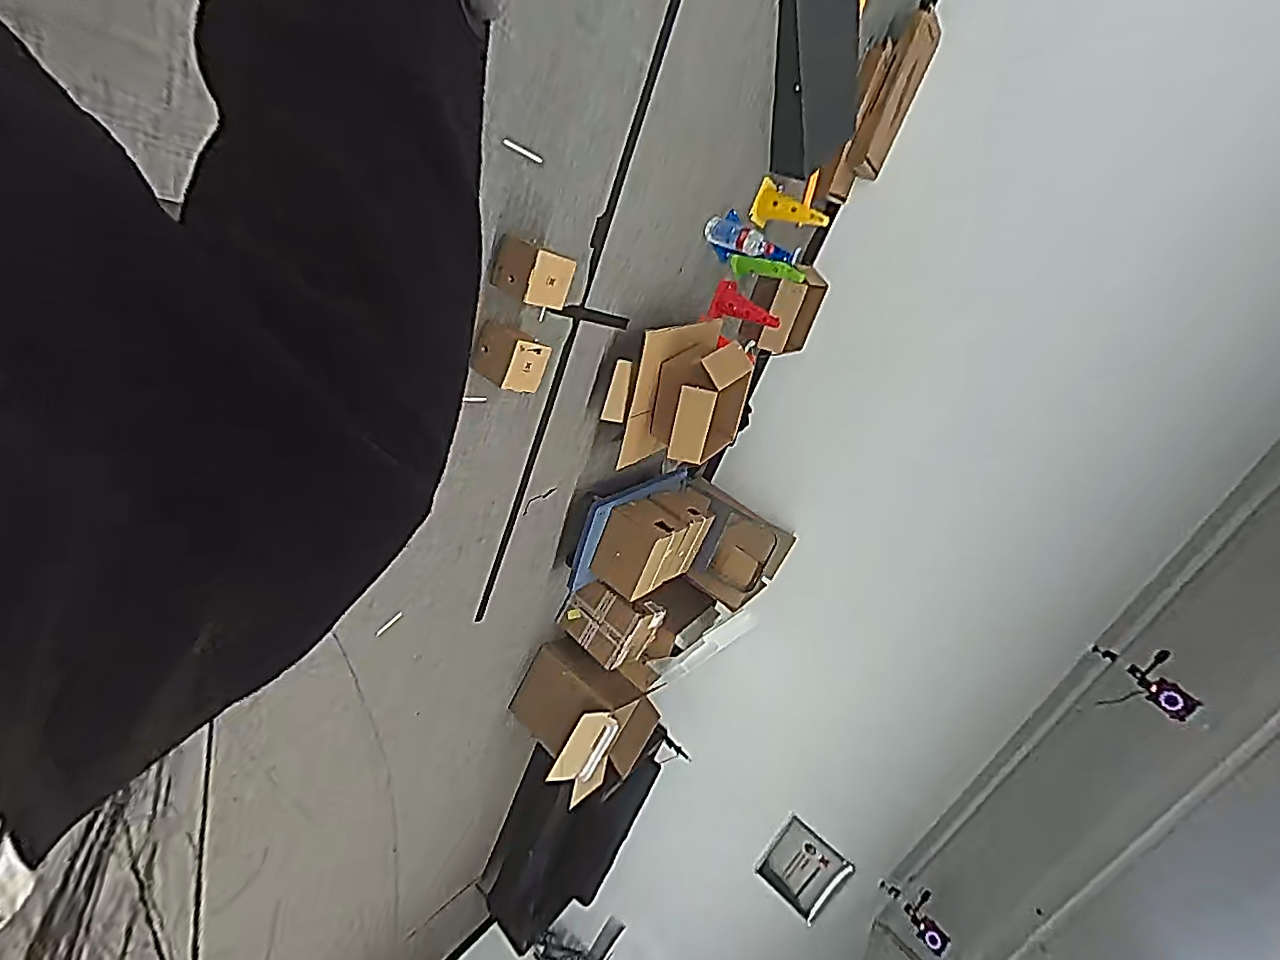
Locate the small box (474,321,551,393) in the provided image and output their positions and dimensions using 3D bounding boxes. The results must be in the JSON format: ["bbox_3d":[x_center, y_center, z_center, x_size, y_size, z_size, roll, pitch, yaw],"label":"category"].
[{"bbox_3d":[-0.445,-0.420,1.861,0.168,0.176,0.179,-5,125,-58],"label":"small box"}]

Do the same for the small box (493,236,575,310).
[{"bbox_3d":[-0.346,-0.669,1.745,0.179,0.176,0.168,-14,133,-56],"label":"small box"}]
